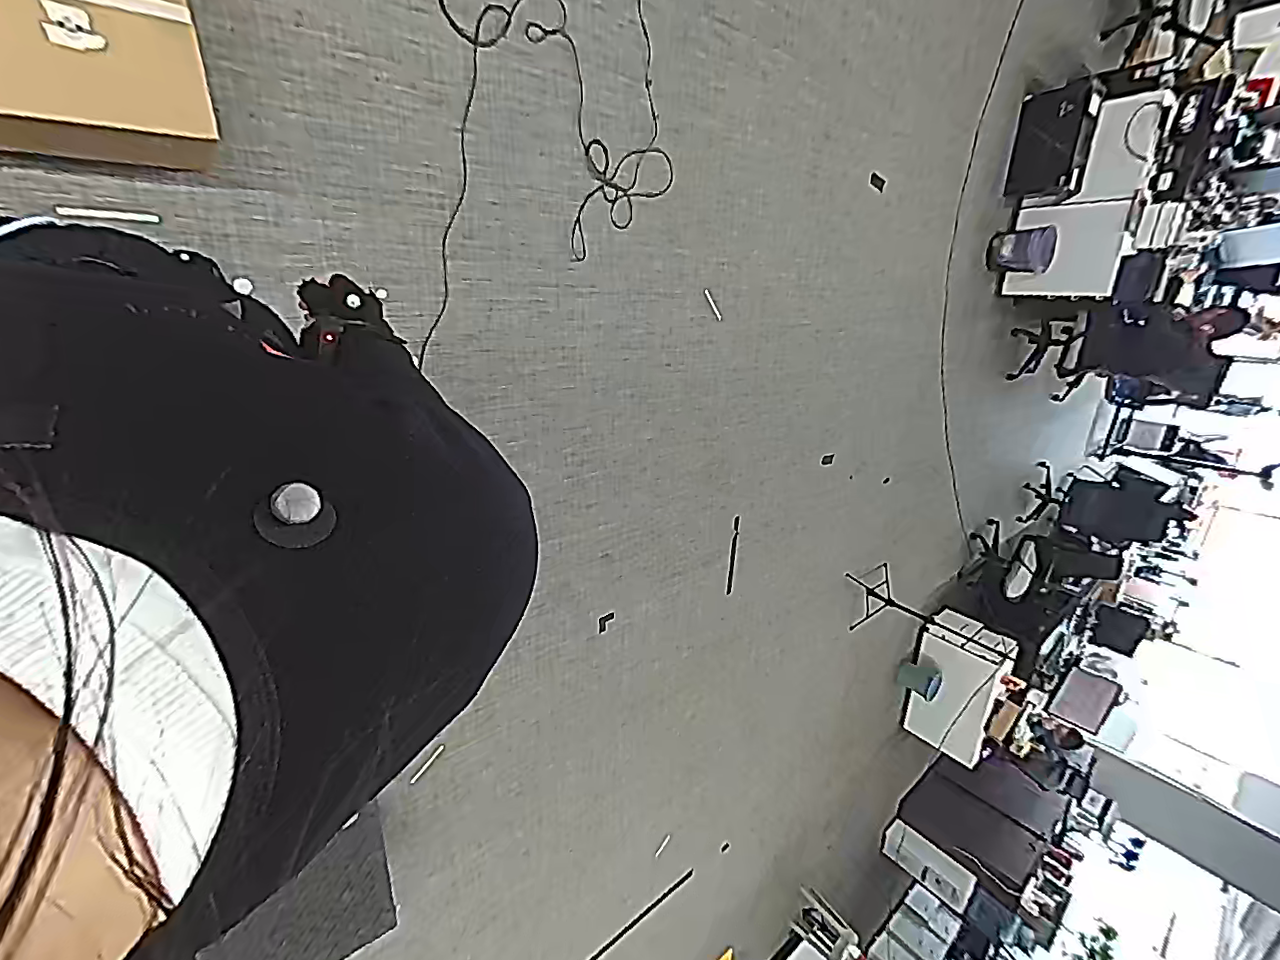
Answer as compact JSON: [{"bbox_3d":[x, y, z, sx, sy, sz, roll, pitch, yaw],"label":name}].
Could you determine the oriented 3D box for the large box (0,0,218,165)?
[{"bbox_3d":[-0.908,-0.673,0.782,0.408,0.320,0.320,-16,116,-37],"label":"large box"}]

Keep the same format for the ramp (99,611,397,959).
[{"bbox_3d":[-0.953,0.875,1.394,0.509,0.206,0.991,-13,113,-36],"label":"ramp"}]
